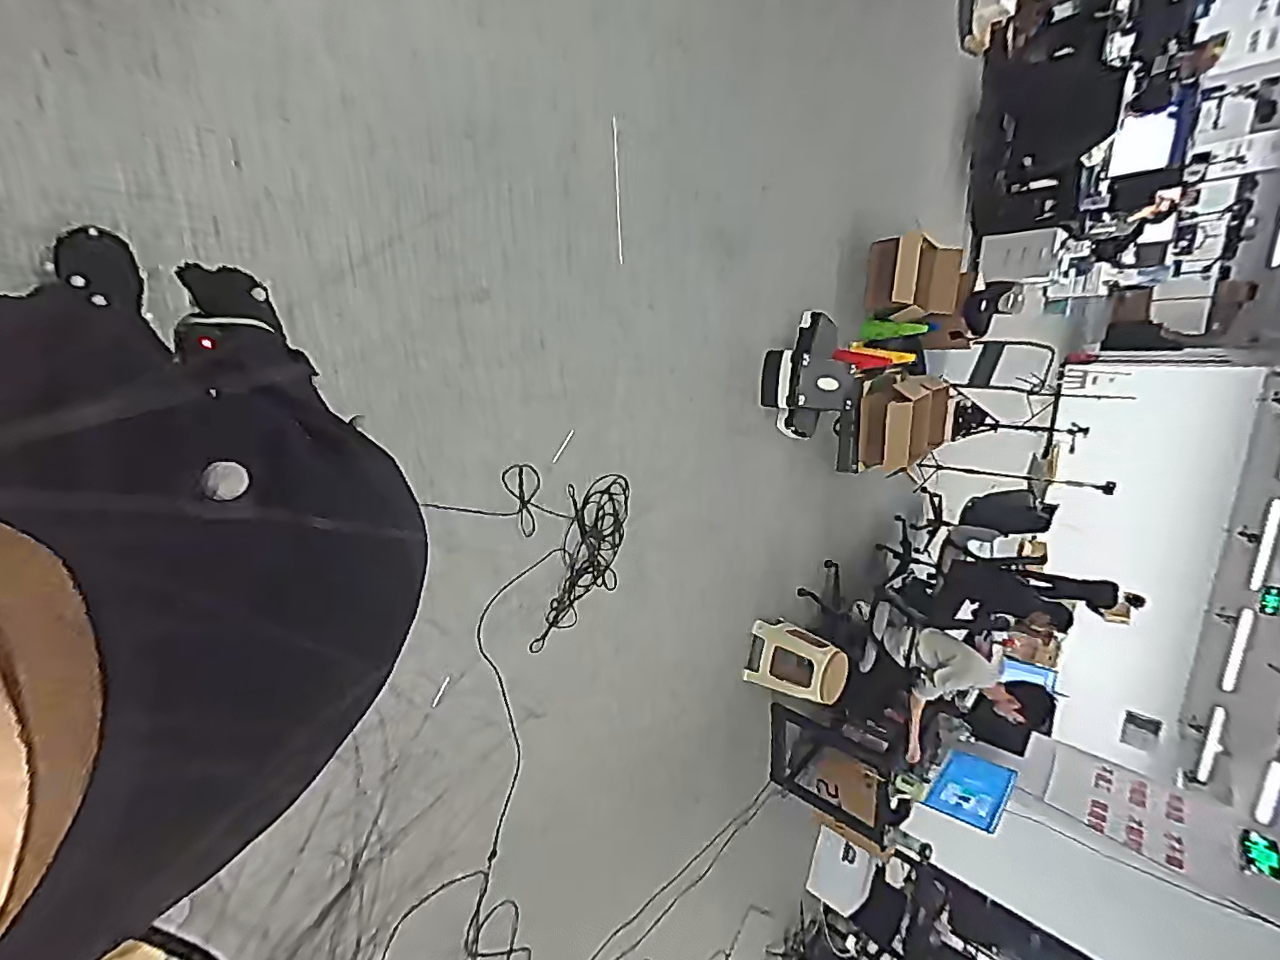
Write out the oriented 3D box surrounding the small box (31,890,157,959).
[{"bbox_3d":[-1.134,1.024,1.131,0.168,0.176,0.179,-16,110,-45],"label":"small box"}]
